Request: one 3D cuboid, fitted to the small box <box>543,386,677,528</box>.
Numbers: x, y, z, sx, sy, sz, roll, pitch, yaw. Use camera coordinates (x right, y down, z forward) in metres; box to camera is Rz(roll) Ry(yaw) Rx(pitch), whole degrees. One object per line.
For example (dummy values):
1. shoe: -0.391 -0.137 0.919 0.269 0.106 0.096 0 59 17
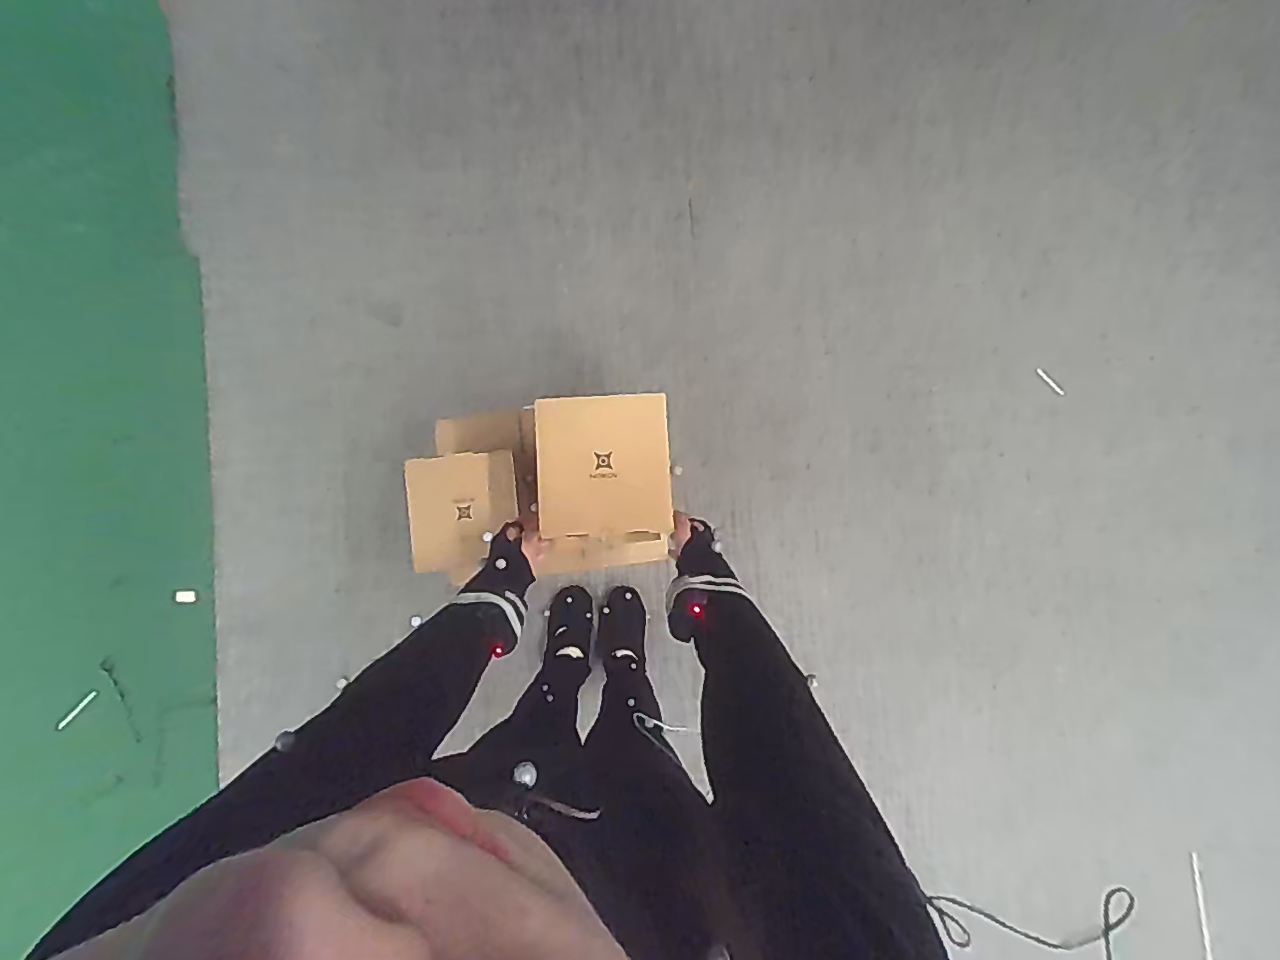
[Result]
1. small box: -0.040 -0.024 0.750 0.168 0.176 0.179 -3 87 -1
